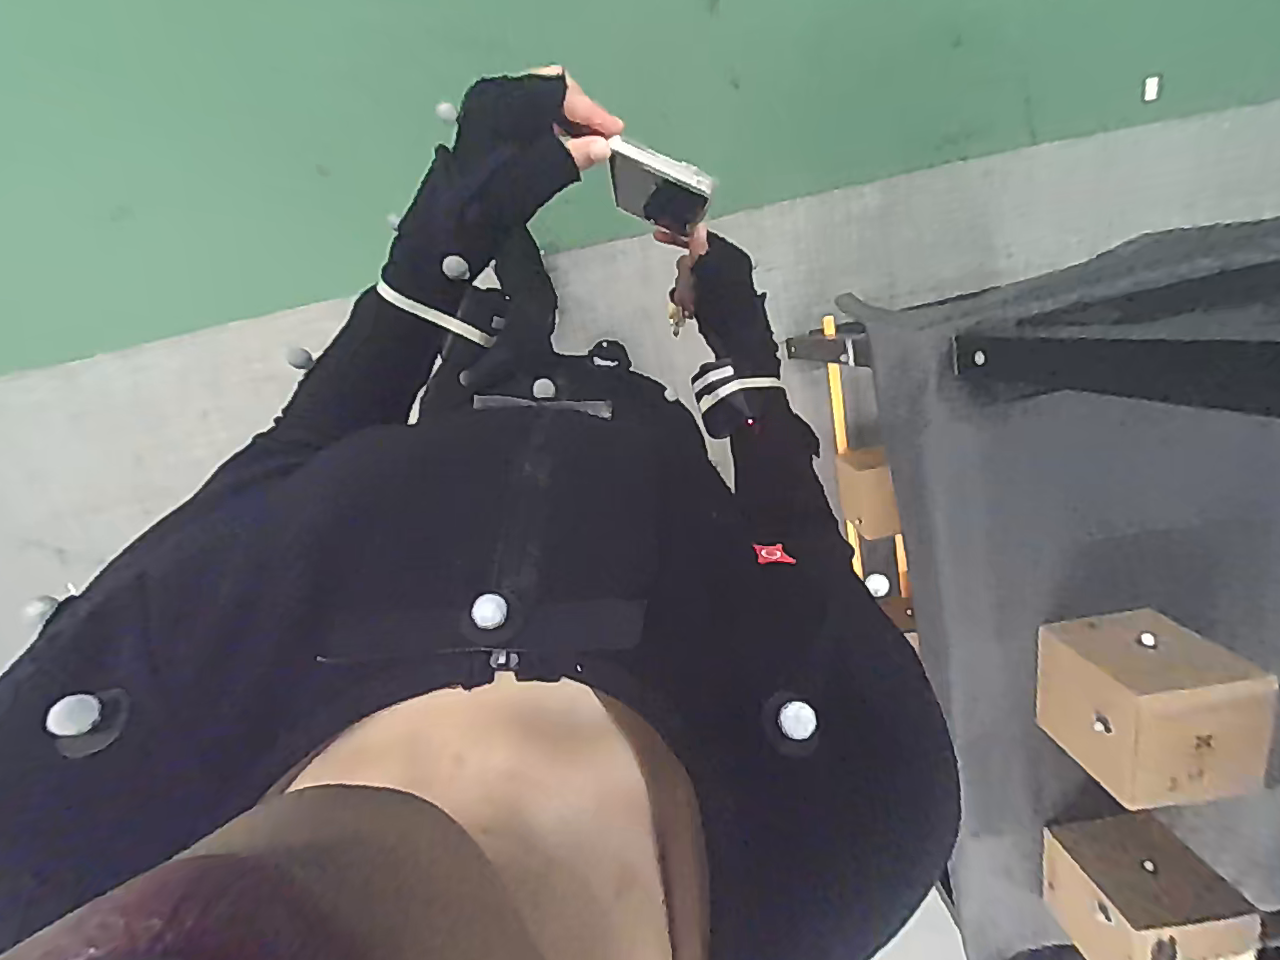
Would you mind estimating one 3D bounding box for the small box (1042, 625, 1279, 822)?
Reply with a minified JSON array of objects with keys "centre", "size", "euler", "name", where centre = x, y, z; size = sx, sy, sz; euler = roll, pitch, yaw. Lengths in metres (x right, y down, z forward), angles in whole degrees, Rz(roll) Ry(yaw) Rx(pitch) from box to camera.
[{"centre":[0.683,0.312,0.729],"size":[0.168,0.176,0.179],"euler":[-9,104,2],"name":"small box"}]
